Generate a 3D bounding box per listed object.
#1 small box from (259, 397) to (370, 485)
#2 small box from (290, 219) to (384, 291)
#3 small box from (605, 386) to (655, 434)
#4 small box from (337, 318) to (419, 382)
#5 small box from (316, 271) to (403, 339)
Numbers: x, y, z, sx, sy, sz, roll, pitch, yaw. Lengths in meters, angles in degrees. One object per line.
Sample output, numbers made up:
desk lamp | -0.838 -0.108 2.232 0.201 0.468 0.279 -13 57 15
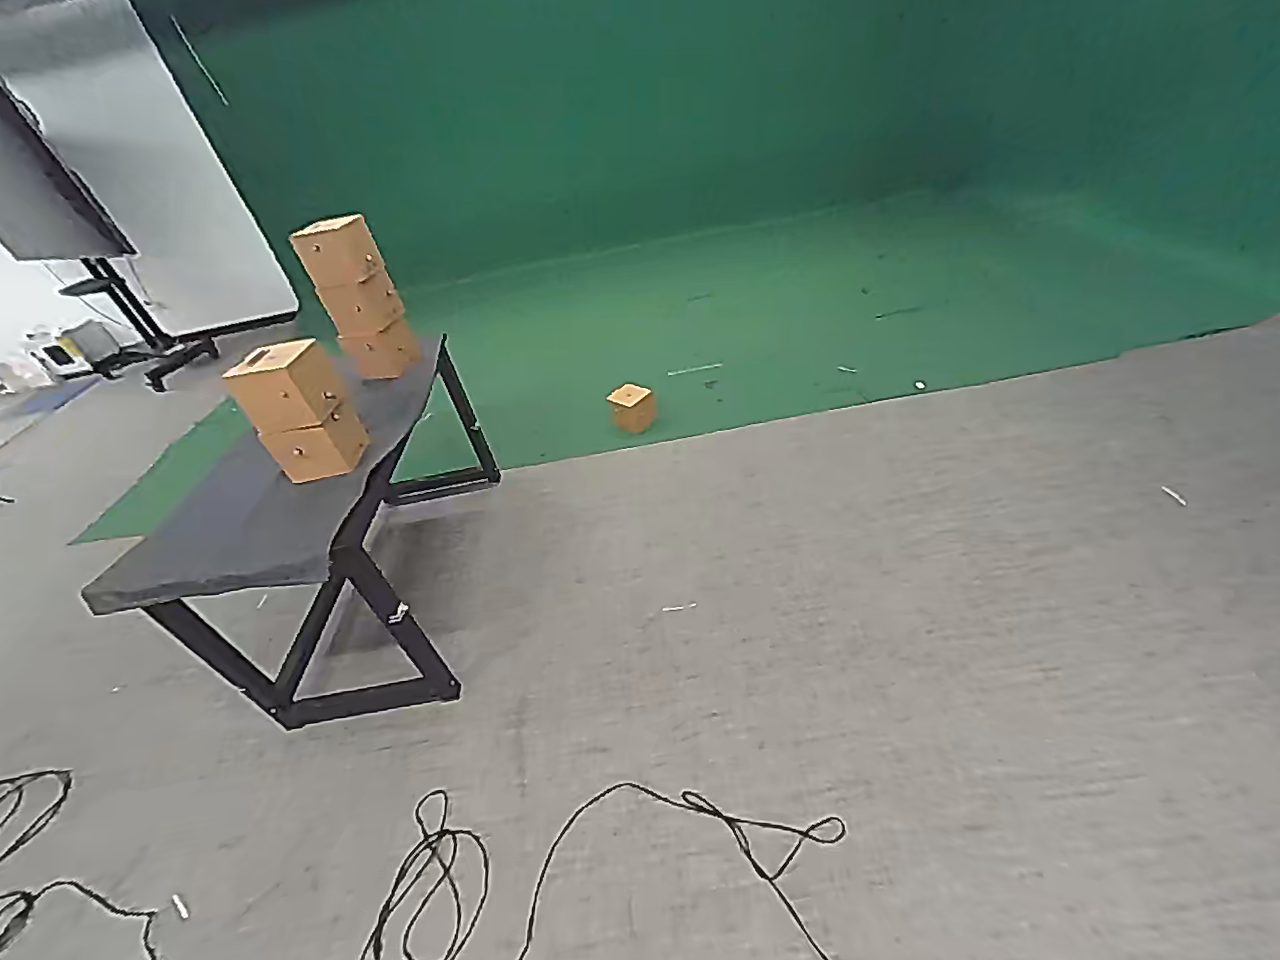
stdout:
small box | -0.898 -0.104 1.511 0.179 0.176 0.168 -12 38 3
small box | -0.989 -0.737 1.780 0.179 0.176 0.168 -5 39 10
small box | -0.045 -0.353 2.754 0.179 0.176 0.168 23 51 37
small box | -0.942 -0.470 1.963 0.179 0.176 0.168 1 40 20
small box | -0.964 -0.606 1.877 0.179 0.176 0.168 -3 38 16
